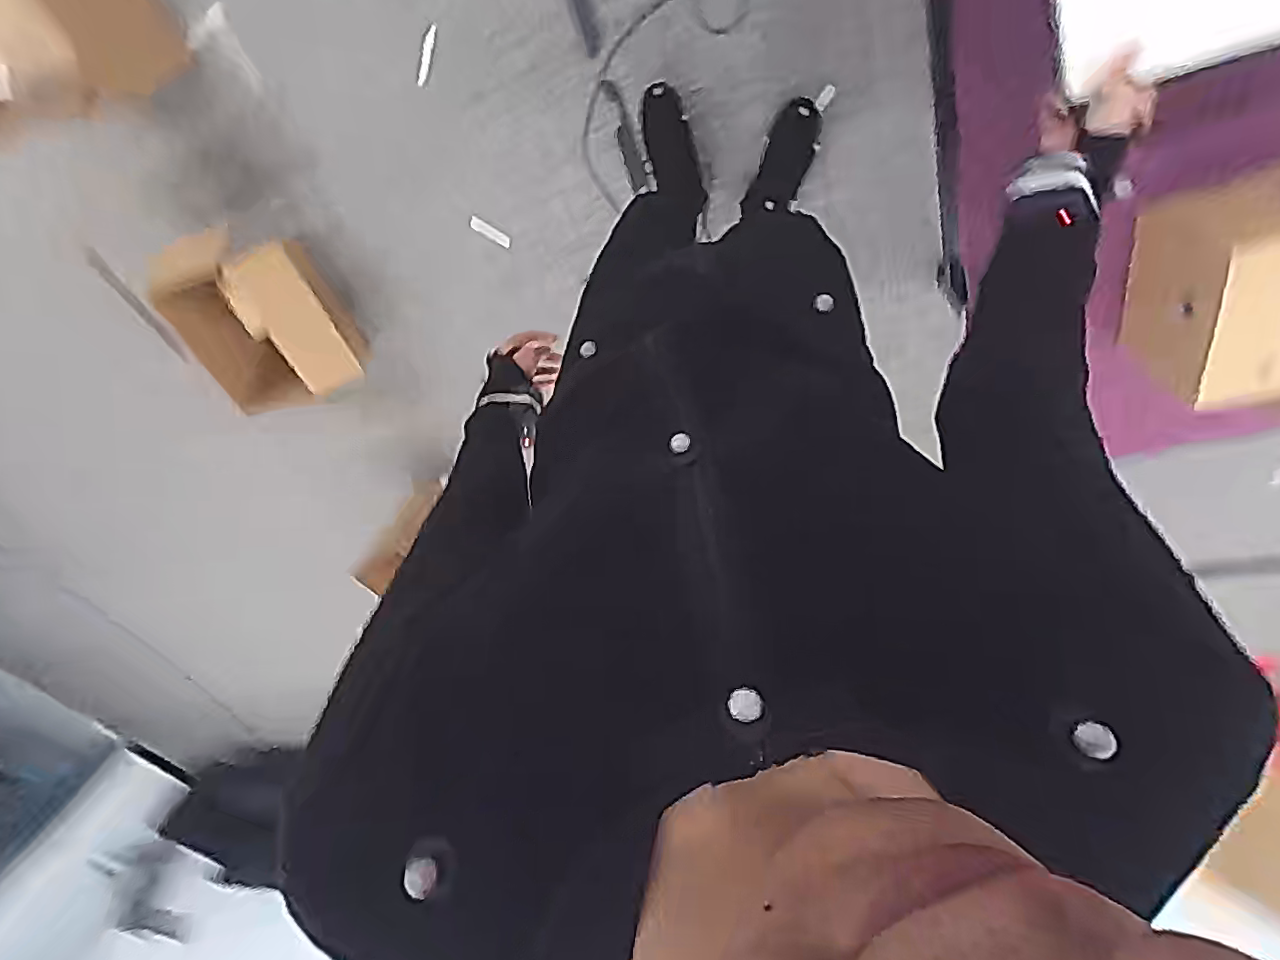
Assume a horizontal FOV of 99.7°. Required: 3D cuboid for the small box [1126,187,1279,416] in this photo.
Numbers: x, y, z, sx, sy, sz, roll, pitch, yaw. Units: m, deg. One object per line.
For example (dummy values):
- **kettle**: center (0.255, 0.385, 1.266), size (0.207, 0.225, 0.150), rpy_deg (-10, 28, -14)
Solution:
- **small box**: center (0.658, -0.195, 0.566), size (0.168, 0.176, 0.179), rpy_deg (-9, 126, 20)
